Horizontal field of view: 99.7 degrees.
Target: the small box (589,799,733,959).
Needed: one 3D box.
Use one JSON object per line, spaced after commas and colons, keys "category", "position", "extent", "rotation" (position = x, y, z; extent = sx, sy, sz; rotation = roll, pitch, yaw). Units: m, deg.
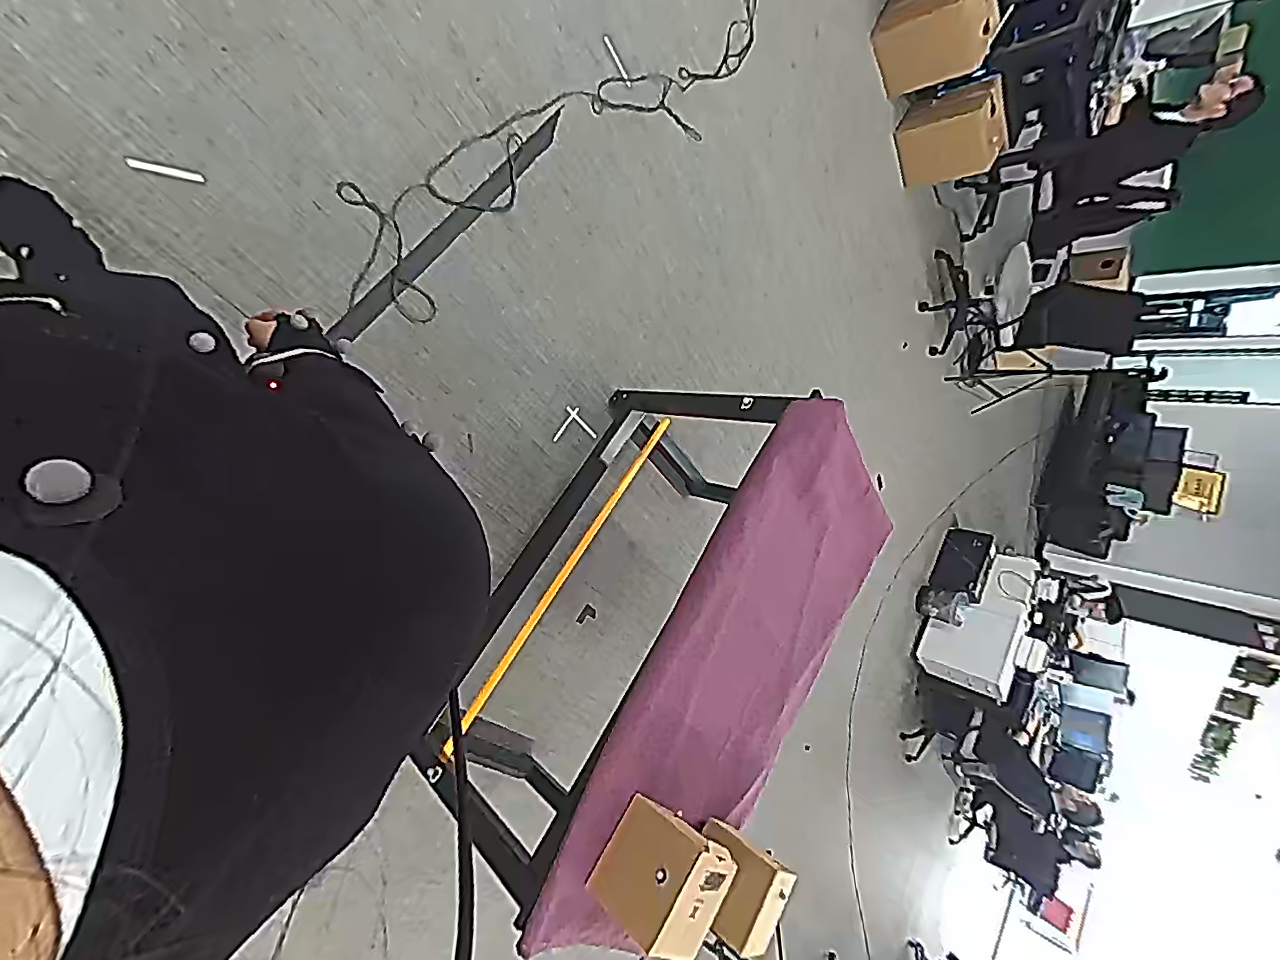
{"category": "small box", "position": [0.037, 0.732, 0.998], "extent": [0.179, 0.176, 0.168], "rotation": [-55, 131, -20]}
